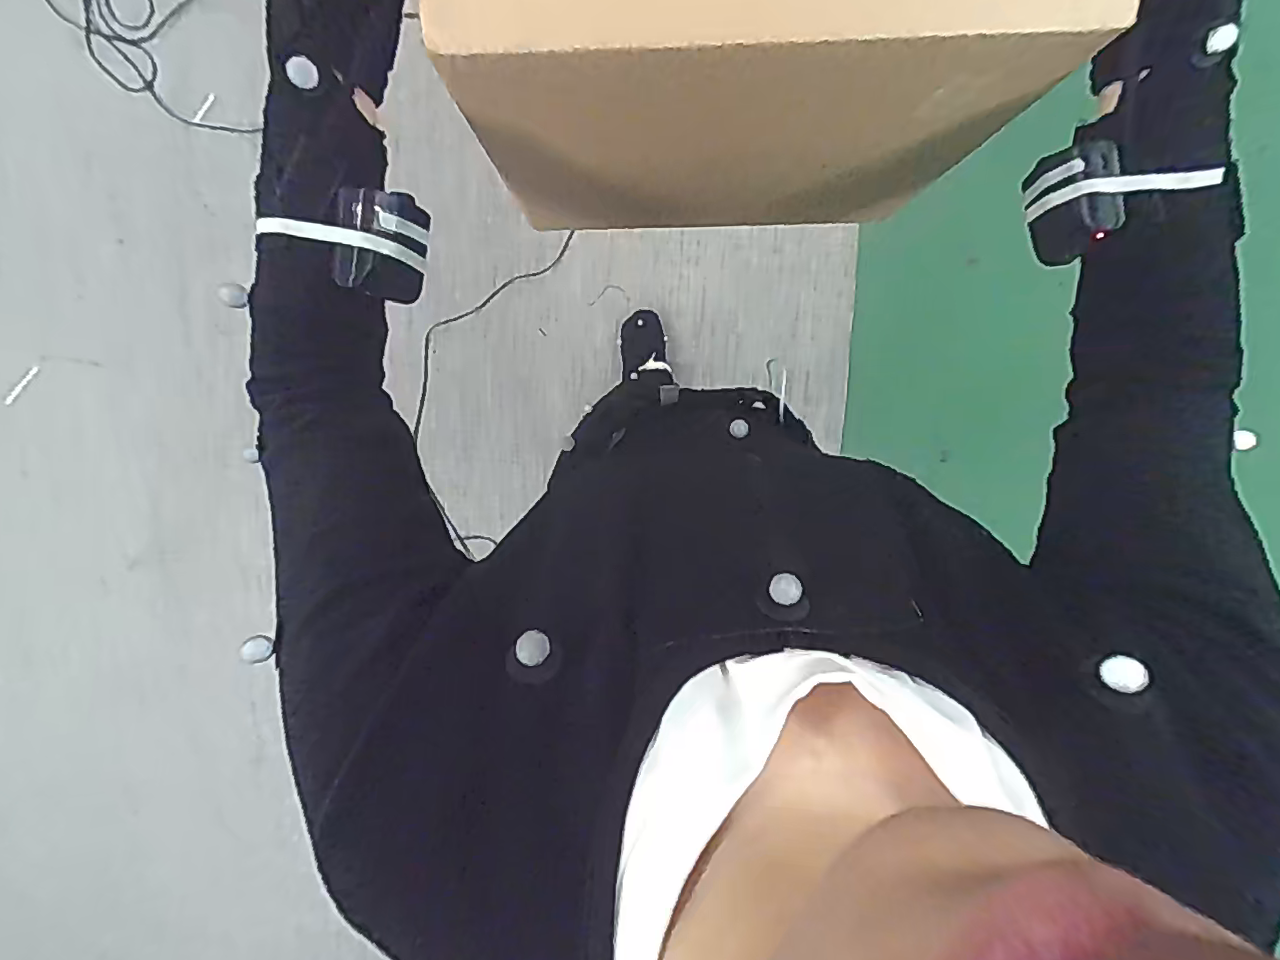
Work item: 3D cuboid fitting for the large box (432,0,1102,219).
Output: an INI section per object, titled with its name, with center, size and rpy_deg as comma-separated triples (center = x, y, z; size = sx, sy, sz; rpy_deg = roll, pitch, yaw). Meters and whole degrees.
[large box]
center = 0.067, -0.434, 0.445
size = 0.408, 0.320, 0.320
rpy_deg = -2, 98, 0
